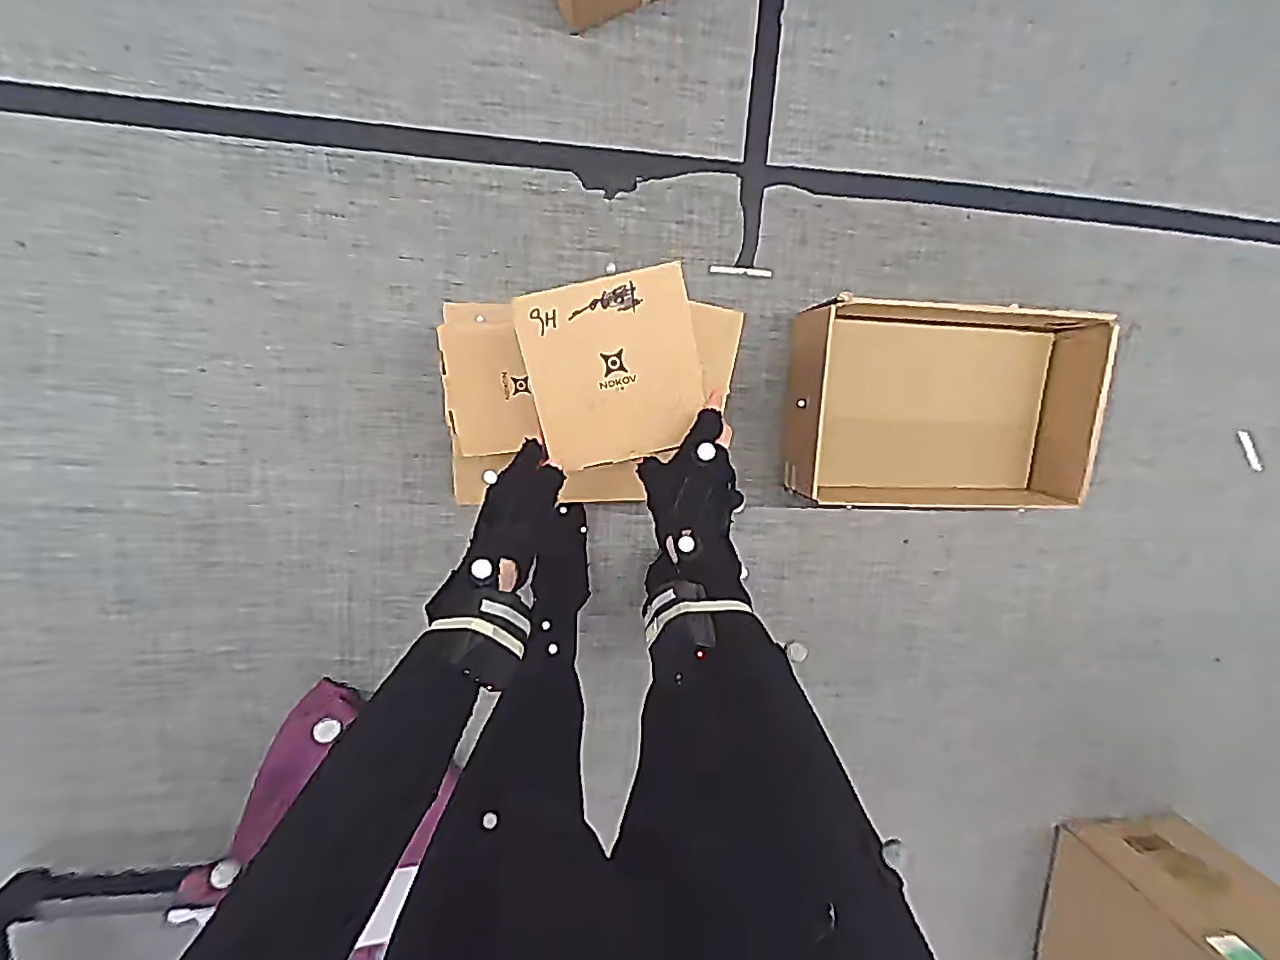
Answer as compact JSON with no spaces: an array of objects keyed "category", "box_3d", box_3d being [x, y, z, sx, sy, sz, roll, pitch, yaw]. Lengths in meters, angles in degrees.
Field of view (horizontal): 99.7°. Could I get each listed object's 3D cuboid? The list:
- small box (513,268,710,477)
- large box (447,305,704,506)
[{"category":"small box","box_3d":[-0.026,-0.118,0.603,0.168,0.176,0.179,-13,102,1]},{"category":"large box","box_3d":[-0.115,-0.143,1.011,0.408,0.320,0.320,-2,100,-8]}]
